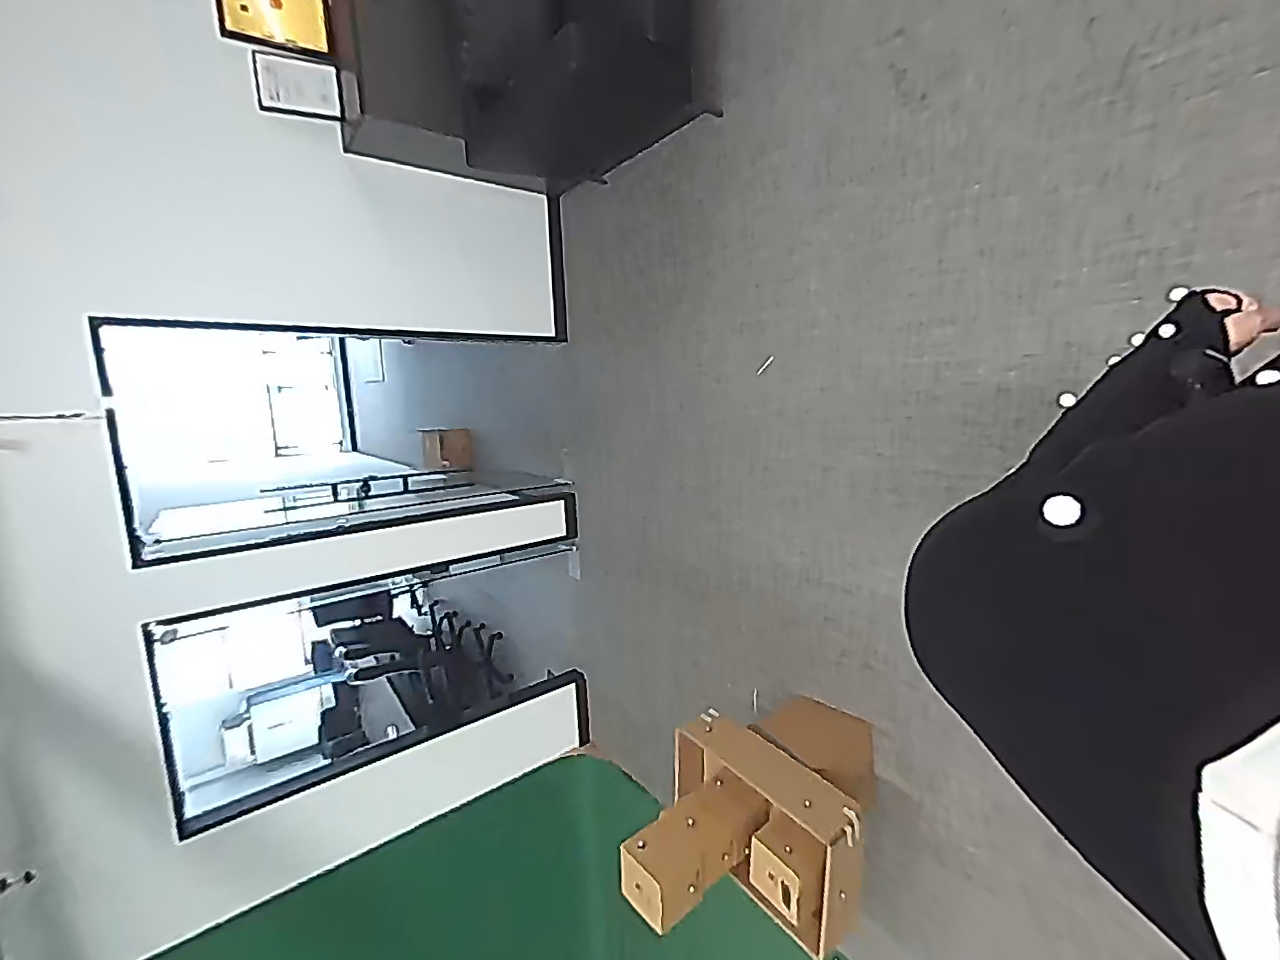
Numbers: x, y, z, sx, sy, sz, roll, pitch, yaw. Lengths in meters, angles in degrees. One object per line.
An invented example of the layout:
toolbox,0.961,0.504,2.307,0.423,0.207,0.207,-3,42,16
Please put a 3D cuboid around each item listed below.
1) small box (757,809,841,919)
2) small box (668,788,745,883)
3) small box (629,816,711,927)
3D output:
small box,0.471,1.123,1.601,0.179,0.176,0.168,16,109,53
small box,0.205,1.102,1.689,0.179,0.176,0.168,13,107,49
small box,0.086,1.125,1.576,0.179,0.176,0.168,10,105,49
